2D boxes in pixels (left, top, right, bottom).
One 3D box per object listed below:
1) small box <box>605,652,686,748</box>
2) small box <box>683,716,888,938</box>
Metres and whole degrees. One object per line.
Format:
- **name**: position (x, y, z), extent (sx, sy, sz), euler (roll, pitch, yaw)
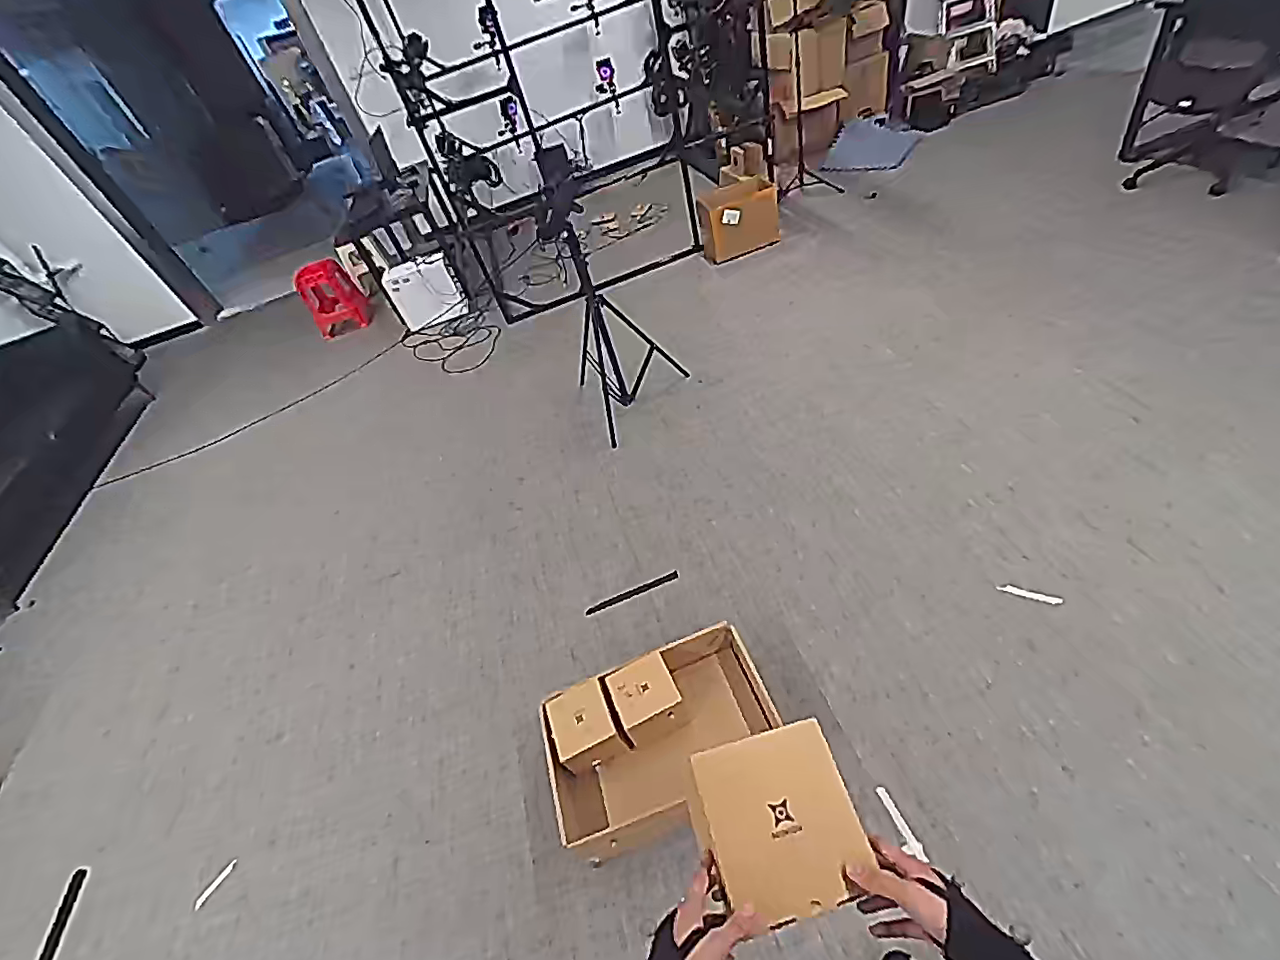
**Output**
- **small box**: position (0.022, 0.632, 1.549), extent (0.179, 0.176, 0.168), euler (-25, 45, -7)
- **small box**: position (0.157, 0.416, 0.657), extent (0.168, 0.176, 0.179), euler (-13, 56, -9)
